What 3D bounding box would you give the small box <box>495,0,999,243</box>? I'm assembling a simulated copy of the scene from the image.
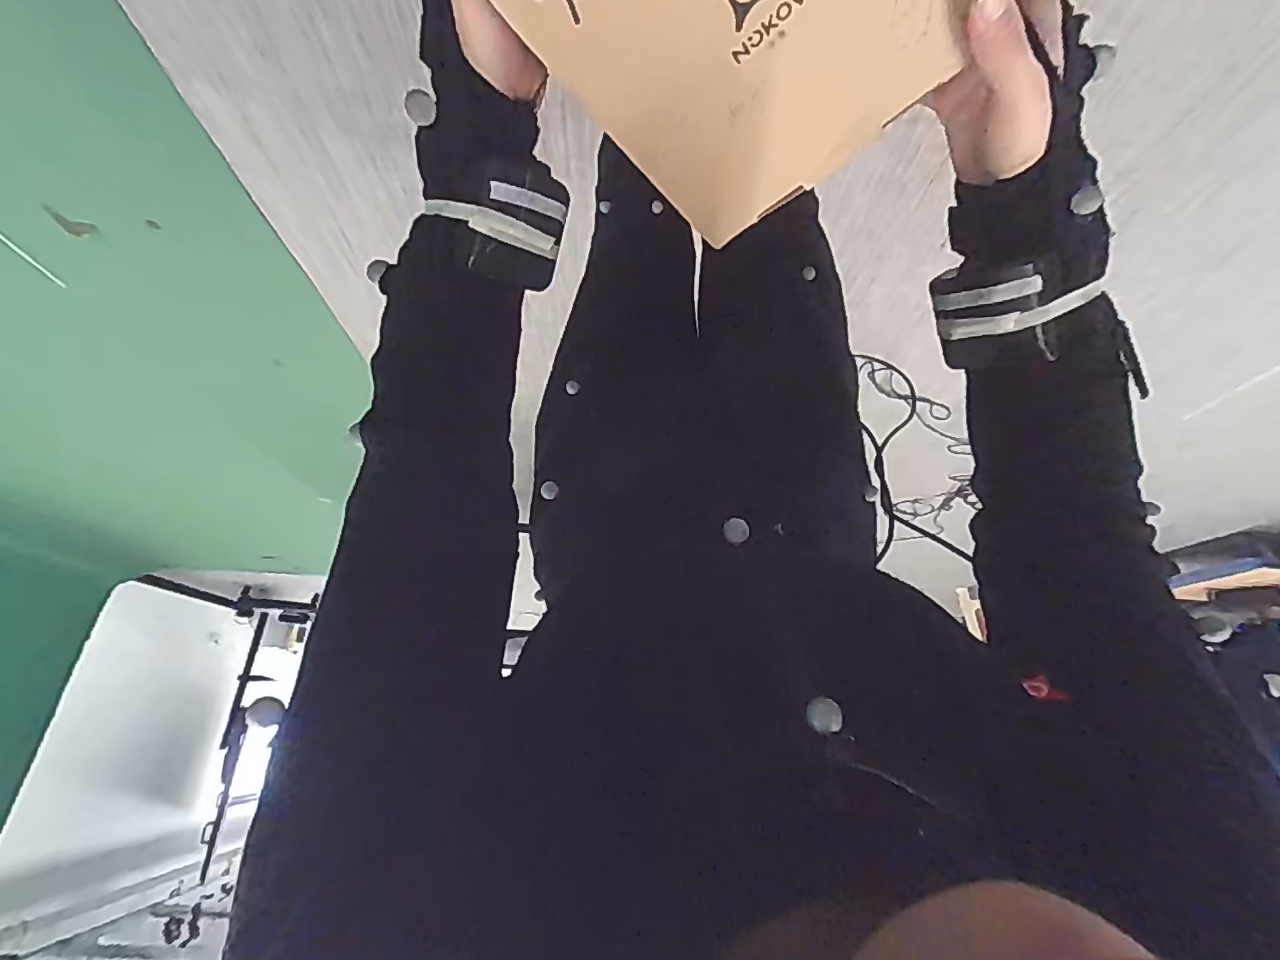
[{"bbox_3d":[0.048,-0.275,0.278,0.168,0.176,0.179,-26,142,34],"label":"small box"}]
